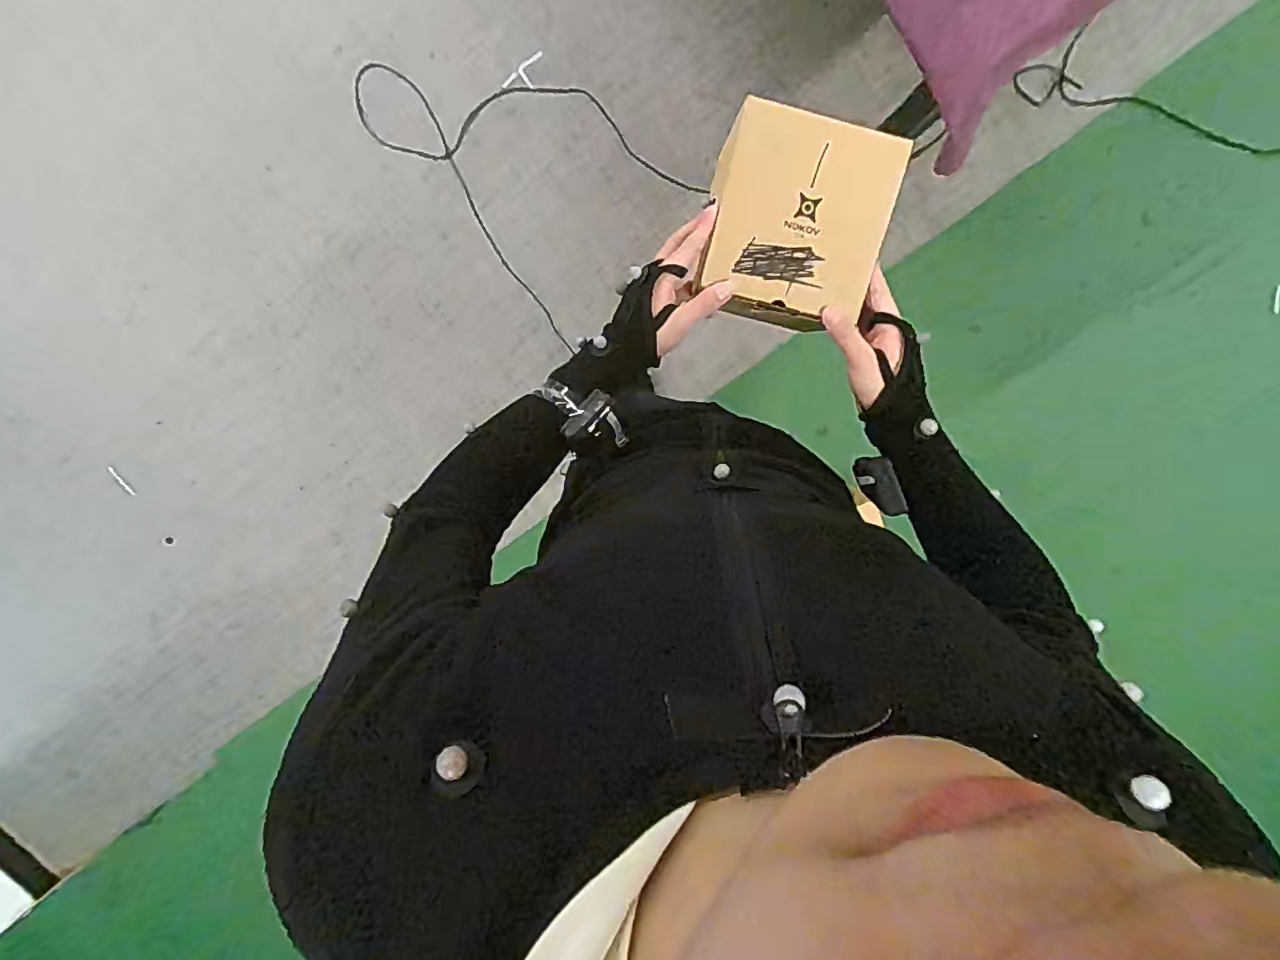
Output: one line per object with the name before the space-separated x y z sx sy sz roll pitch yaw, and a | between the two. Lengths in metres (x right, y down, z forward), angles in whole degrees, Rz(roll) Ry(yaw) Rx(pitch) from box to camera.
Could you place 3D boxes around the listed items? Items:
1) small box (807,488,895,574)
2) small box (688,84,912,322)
small box | 0.601 0.140 1.557 0.168 0.176 0.179 -20 99 7
small box | 0.153 -0.277 0.589 0.168 0.176 0.179 13 103 -4
